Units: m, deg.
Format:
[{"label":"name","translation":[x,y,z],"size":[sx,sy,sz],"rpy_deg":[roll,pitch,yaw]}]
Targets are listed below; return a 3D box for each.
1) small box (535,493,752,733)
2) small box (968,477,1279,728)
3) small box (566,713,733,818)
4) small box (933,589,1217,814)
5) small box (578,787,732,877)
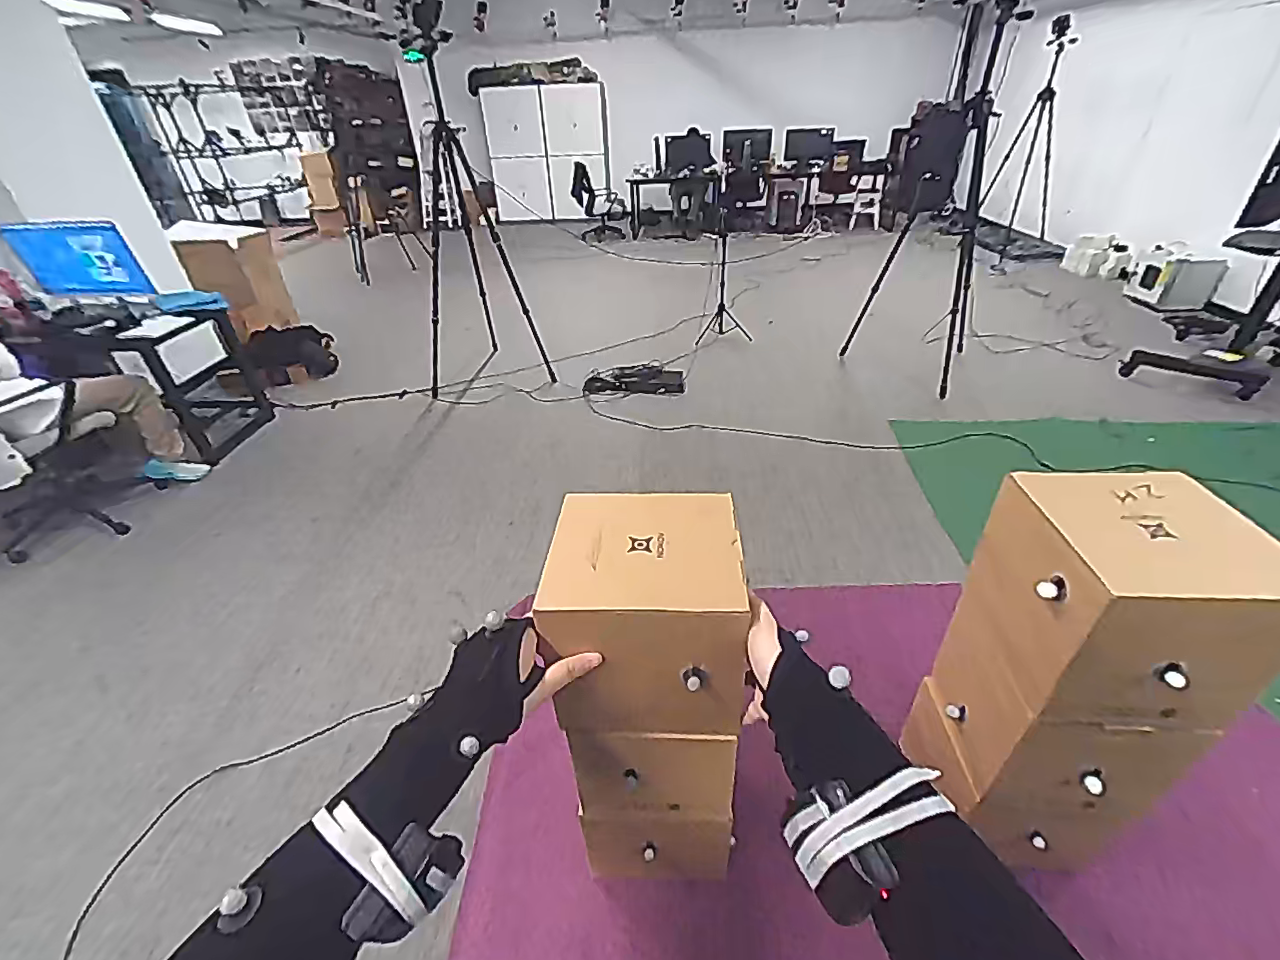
[{"label":"small box","translation":[0.010,0.129,0.537],"size":[0.179,0.176,0.168],"rpy_deg":[0,33,5]},{"label":"small box","translation":[0.453,0.113,0.521],"size":[0.168,0.176,0.179],"rpy_deg":[1,34,6]},{"label":"small box","translation":[0.018,0.264,0.628],"size":[0.168,0.176,0.179],"rpy_deg":[0,34,4]},{"label":"small box","translation":[0.462,0.249,0.615],"size":[0.168,0.176,0.179],"rpy_deg":[2,35,7]},{"label":"small box","translation":[0.022,0.399,0.718],"size":[0.179,0.176,0.168],"rpy_deg":[-1,34,3]}]
